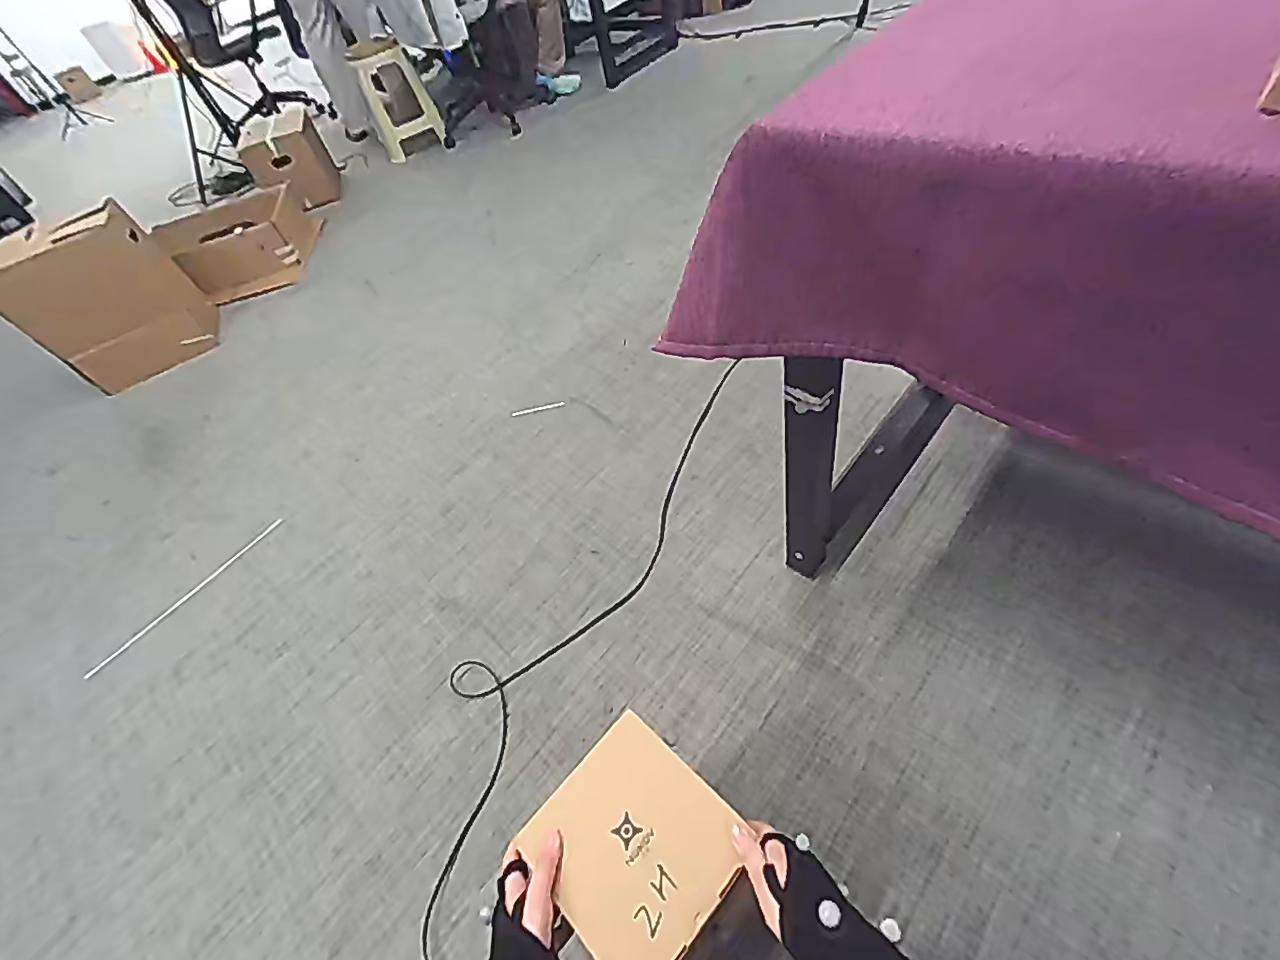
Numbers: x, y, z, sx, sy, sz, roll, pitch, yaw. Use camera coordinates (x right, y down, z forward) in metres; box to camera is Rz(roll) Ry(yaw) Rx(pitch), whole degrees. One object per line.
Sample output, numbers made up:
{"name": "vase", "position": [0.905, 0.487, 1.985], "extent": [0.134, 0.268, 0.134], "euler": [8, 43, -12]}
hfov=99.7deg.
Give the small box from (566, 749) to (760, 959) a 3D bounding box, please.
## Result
{"name": "small box", "position": [0.041, 0.490, 0.687], "extent": [0.168, 0.176, 0.179], "euler": [32, 64, 33]}
